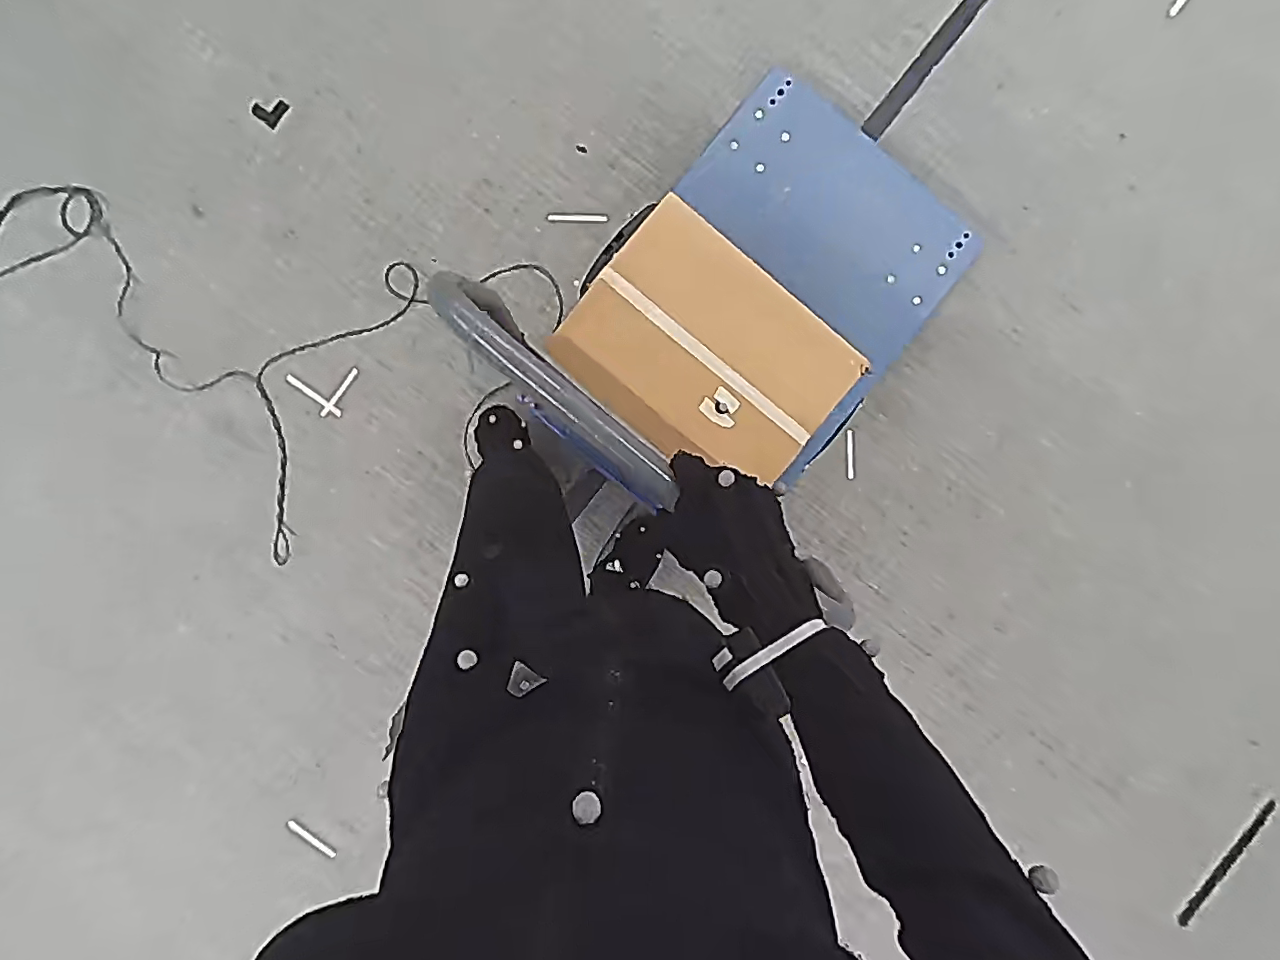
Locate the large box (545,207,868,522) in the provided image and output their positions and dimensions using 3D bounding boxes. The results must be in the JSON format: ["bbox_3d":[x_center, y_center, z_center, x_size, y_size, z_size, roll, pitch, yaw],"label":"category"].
[{"bbox_3d":[0.096,-0.179,0.966,0.408,0.320,0.320,40,92,-3],"label":"large box"}]
